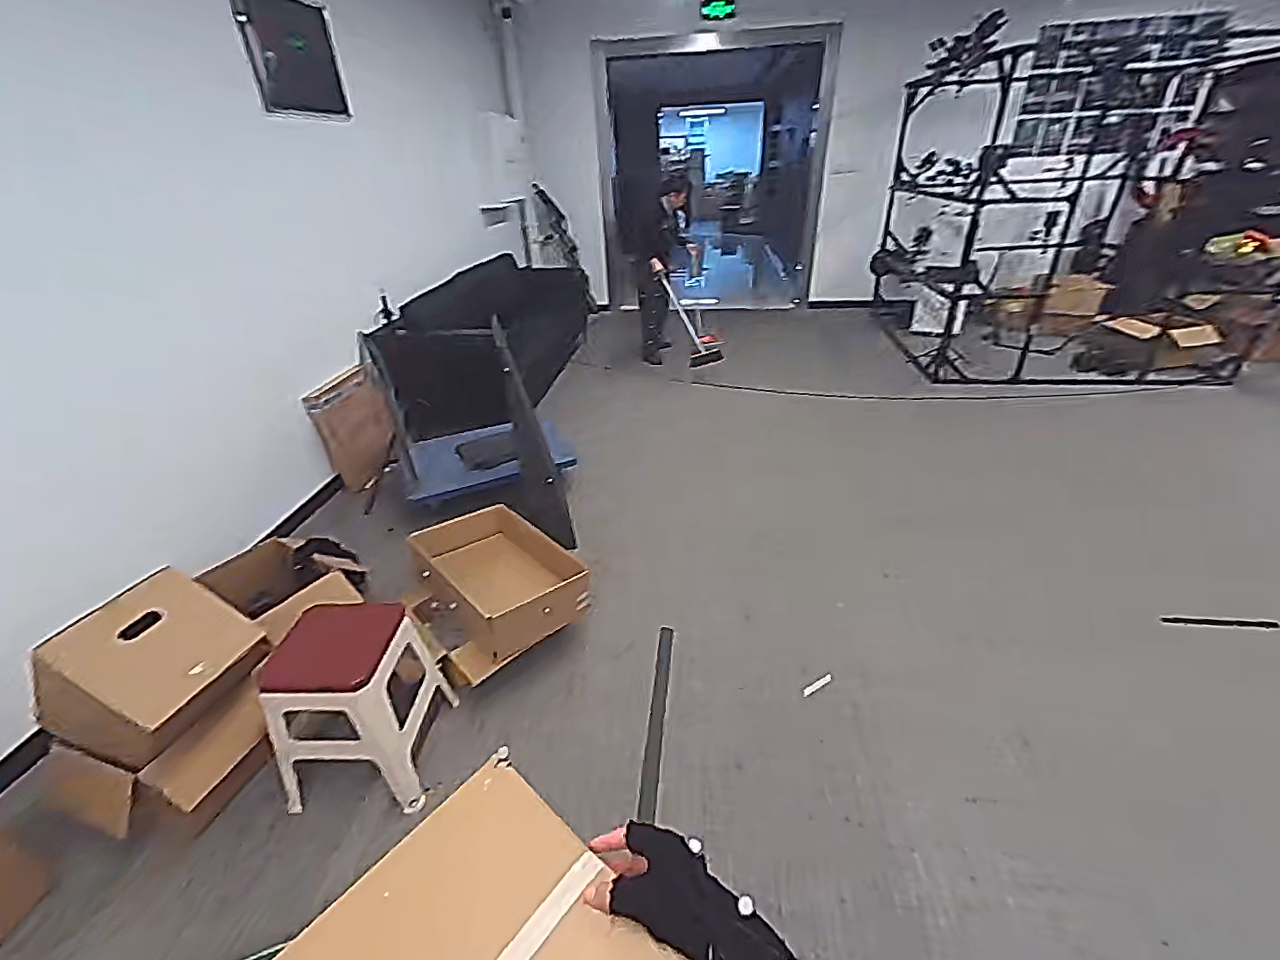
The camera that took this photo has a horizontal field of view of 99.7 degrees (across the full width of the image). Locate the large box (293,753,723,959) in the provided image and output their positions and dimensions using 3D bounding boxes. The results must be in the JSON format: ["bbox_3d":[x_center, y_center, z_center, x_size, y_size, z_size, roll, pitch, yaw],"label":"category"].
[{"bbox_3d":[-0.148,0.569,0.485,0.320,0.320,0.408,25,44,36],"label":"large box"}]
